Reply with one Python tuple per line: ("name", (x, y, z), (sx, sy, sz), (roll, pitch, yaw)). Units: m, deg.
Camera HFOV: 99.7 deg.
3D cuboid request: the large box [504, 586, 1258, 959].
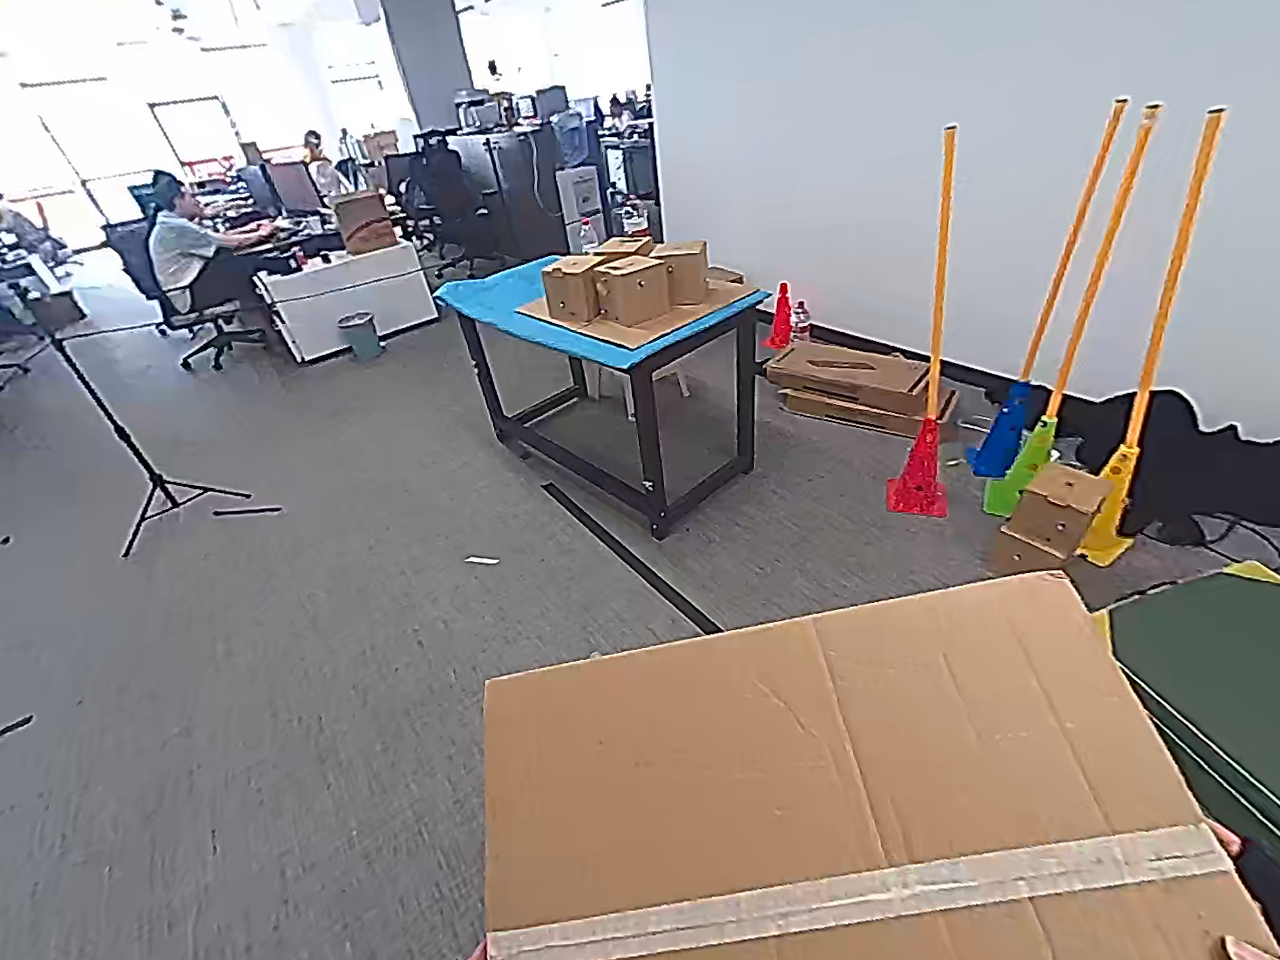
("large box", (0.140, 0.317, 0.441), (0.408, 0.320, 0.320), (-13, 62, 5))
